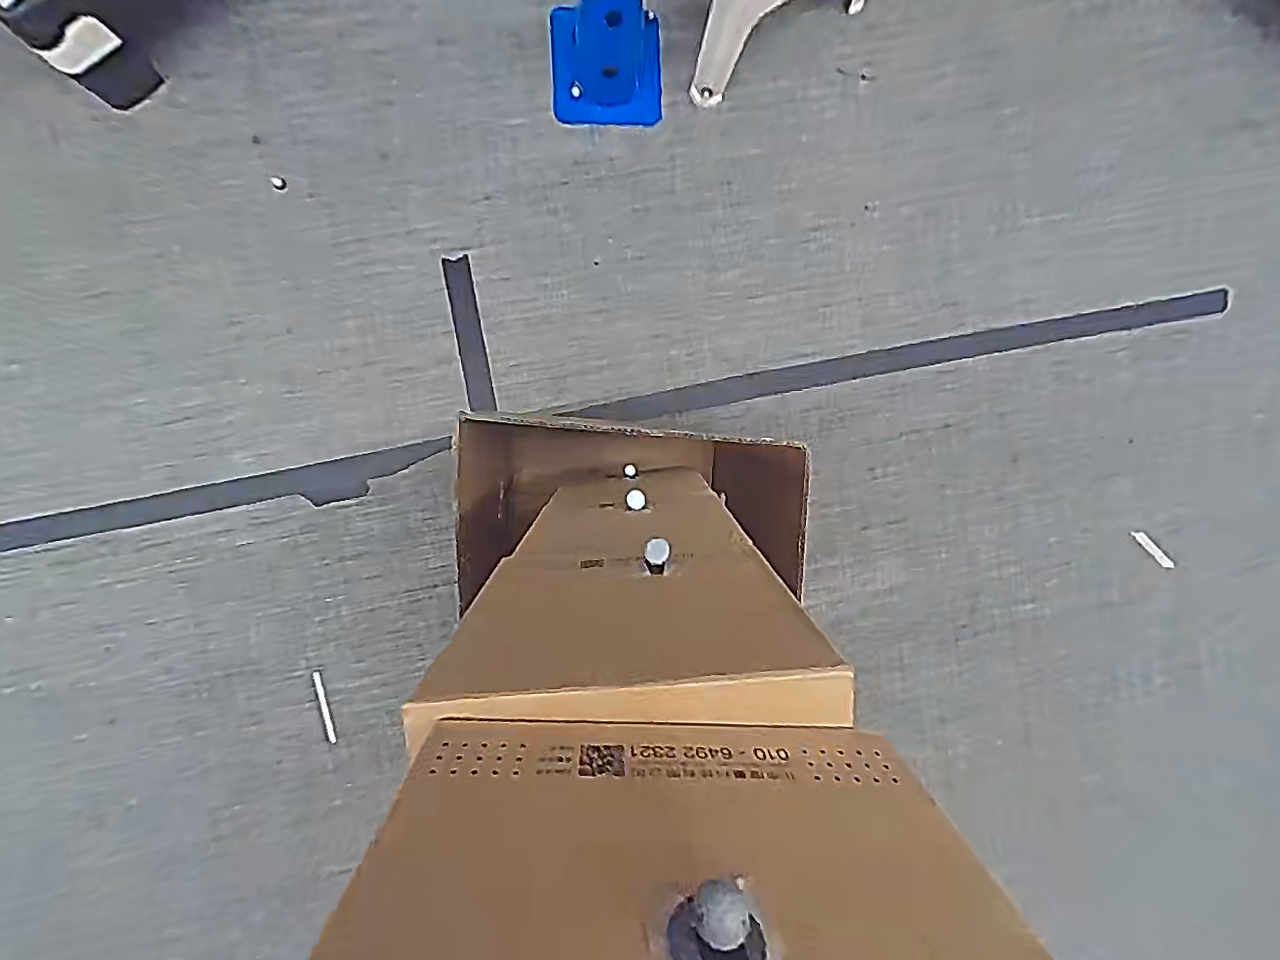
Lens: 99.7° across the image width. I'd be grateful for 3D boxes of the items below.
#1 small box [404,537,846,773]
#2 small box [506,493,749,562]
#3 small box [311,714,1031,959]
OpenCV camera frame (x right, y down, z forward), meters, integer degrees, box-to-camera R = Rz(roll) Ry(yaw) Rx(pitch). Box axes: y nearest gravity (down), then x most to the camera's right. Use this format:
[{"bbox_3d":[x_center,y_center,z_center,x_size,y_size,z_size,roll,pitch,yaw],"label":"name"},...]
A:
[{"bbox_3d":[-0.003,0.140,0.292,0.168,0.176,0.179,-3,100,-1],"label":"small box"},{"bbox_3d":[-0.004,0.116,0.453,0.168,0.176,0.179,-4,99,0],"label":"small box"},{"bbox_3d":[0.003,0.182,0.132,0.168,0.176,0.179,3,100,-2],"label":"small box"}]
